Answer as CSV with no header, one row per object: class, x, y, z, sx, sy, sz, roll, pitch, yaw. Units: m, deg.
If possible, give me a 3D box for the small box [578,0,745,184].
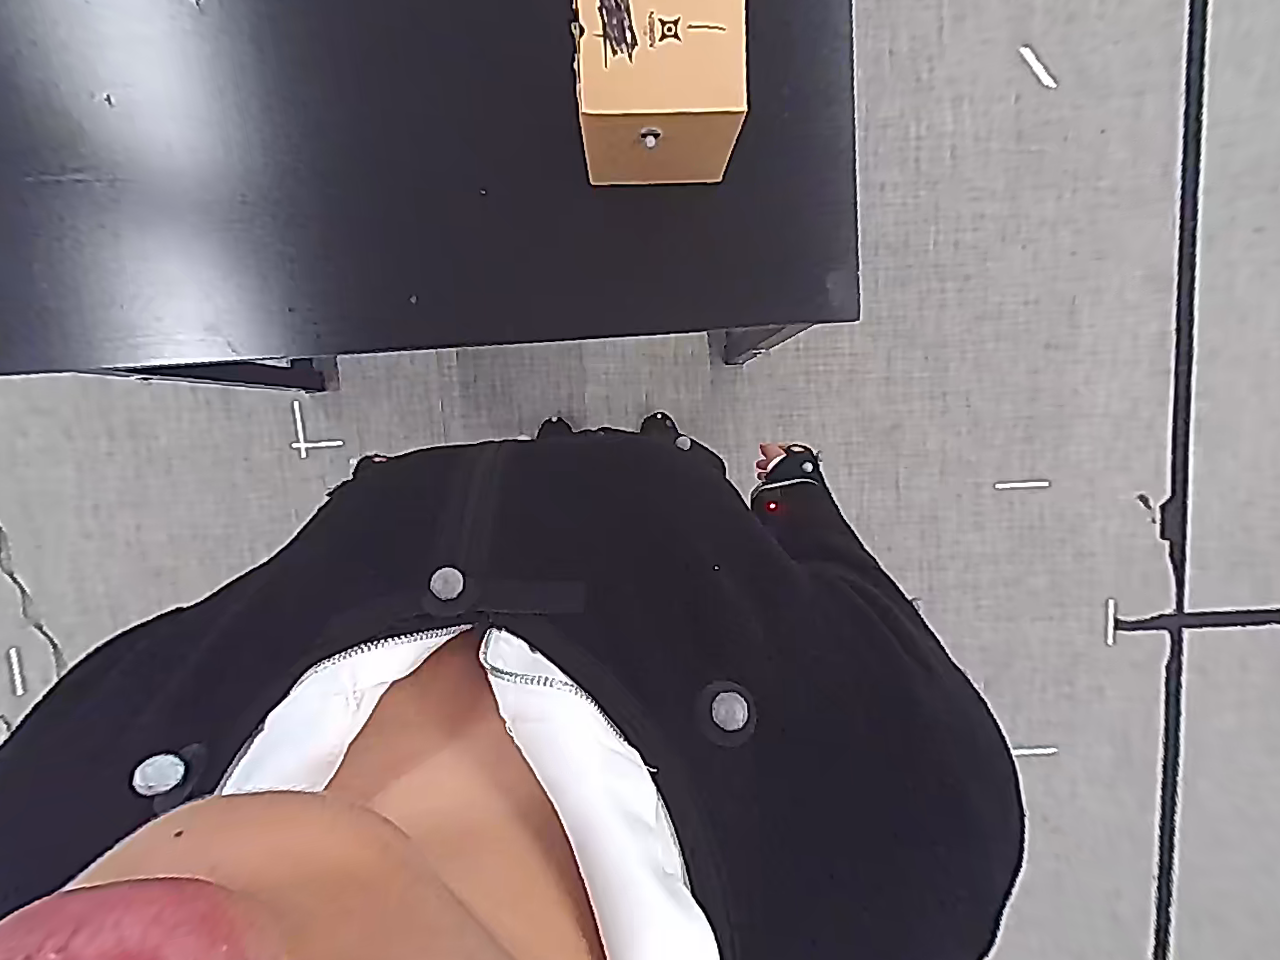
small box,0.022,-0.473,0.644,0.179,0.176,0.168,-2,96,-1
